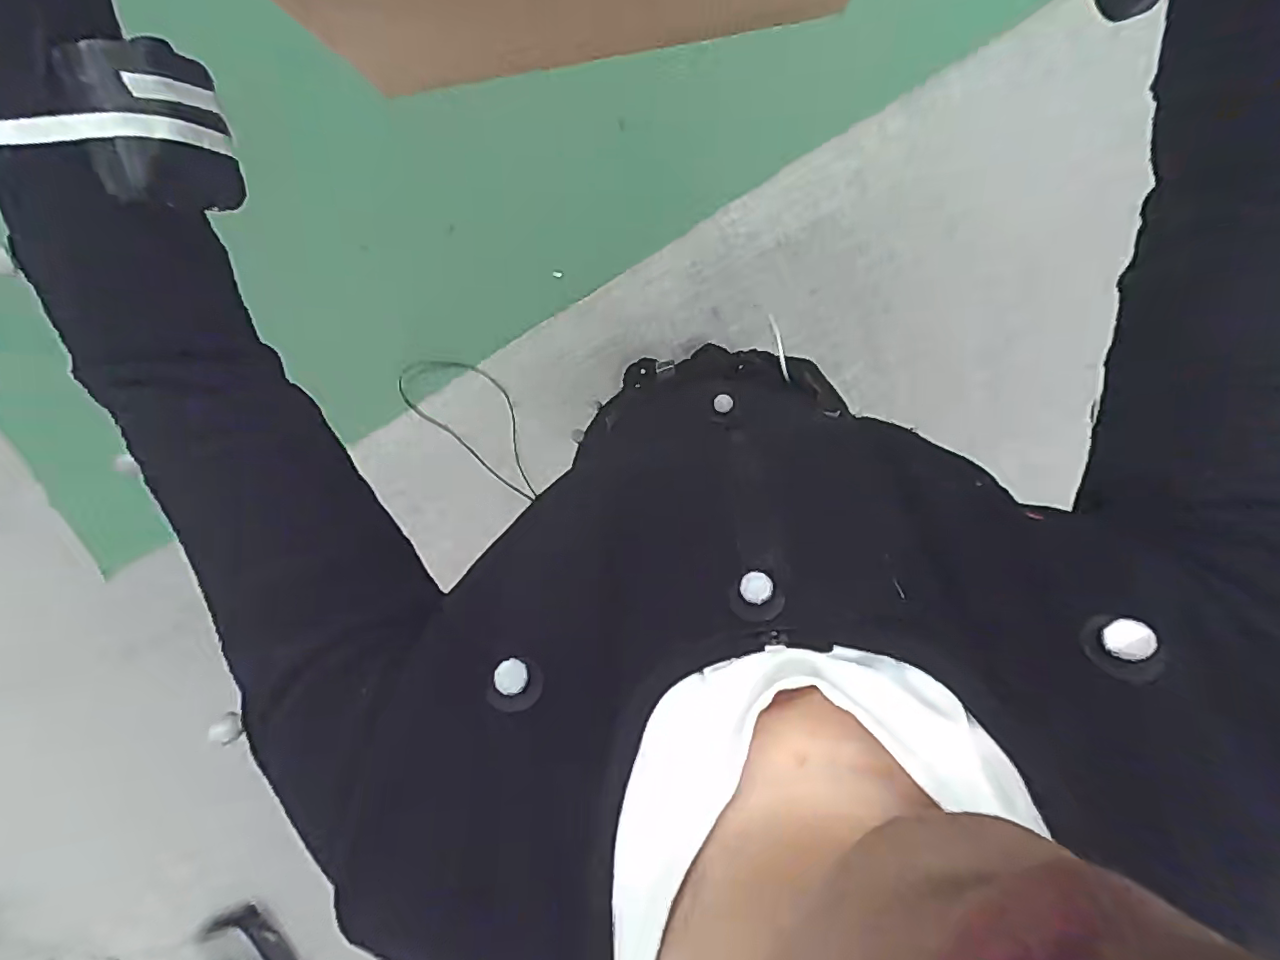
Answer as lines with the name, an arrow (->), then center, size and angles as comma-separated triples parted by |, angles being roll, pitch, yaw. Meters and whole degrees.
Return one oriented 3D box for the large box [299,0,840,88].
large box -> -0.042, -0.465, 0.277 | 0.408, 0.320, 0.320 | -9, 110, 1
